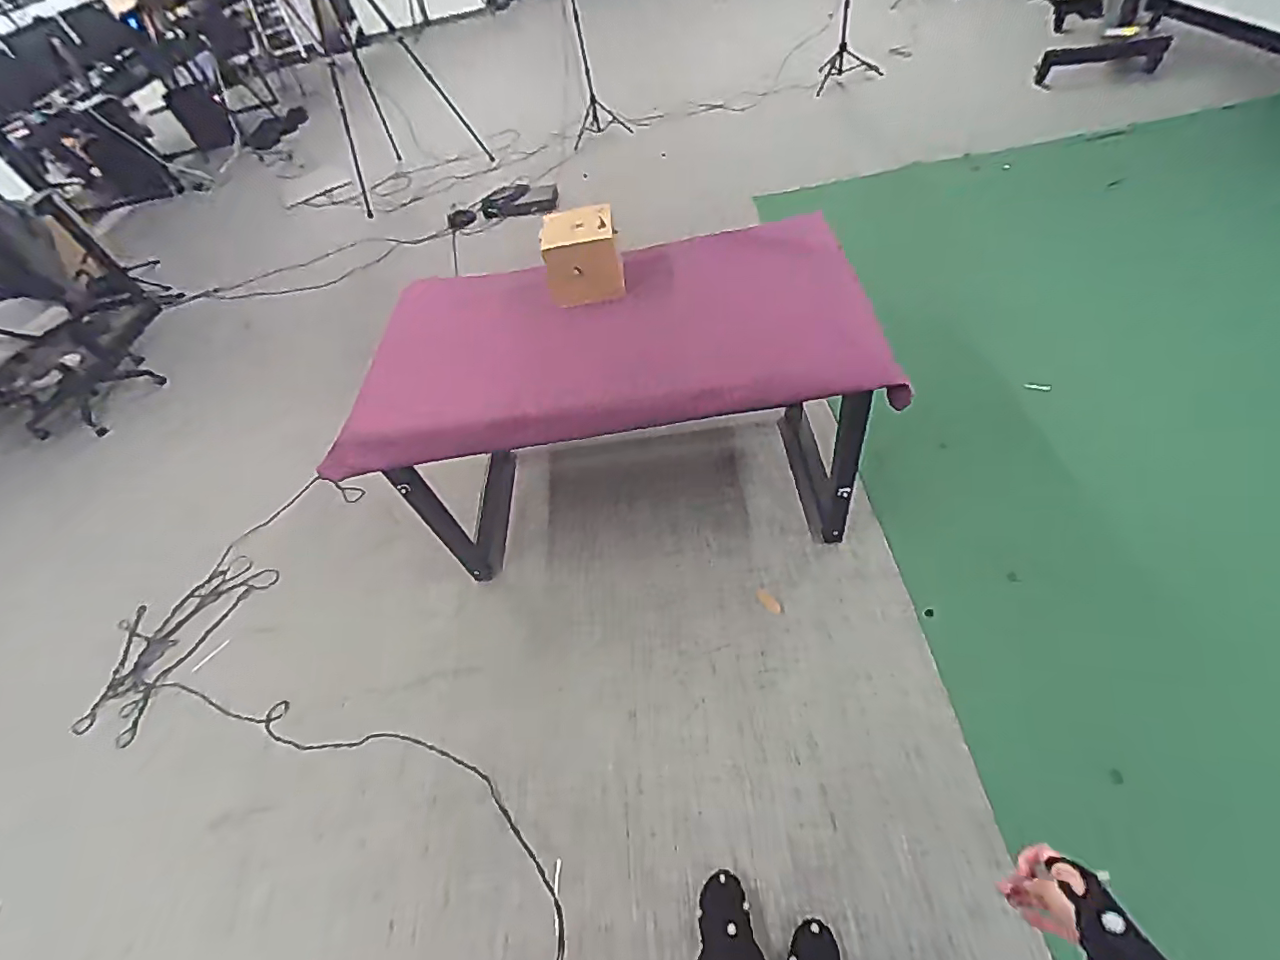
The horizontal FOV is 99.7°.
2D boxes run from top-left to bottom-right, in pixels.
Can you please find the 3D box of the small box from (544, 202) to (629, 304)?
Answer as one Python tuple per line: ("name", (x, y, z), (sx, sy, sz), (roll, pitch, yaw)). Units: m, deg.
("small box", (-0.130, -0.569, 1.370), (0.179, 0.176, 0.168), (-8, 53, 7))
